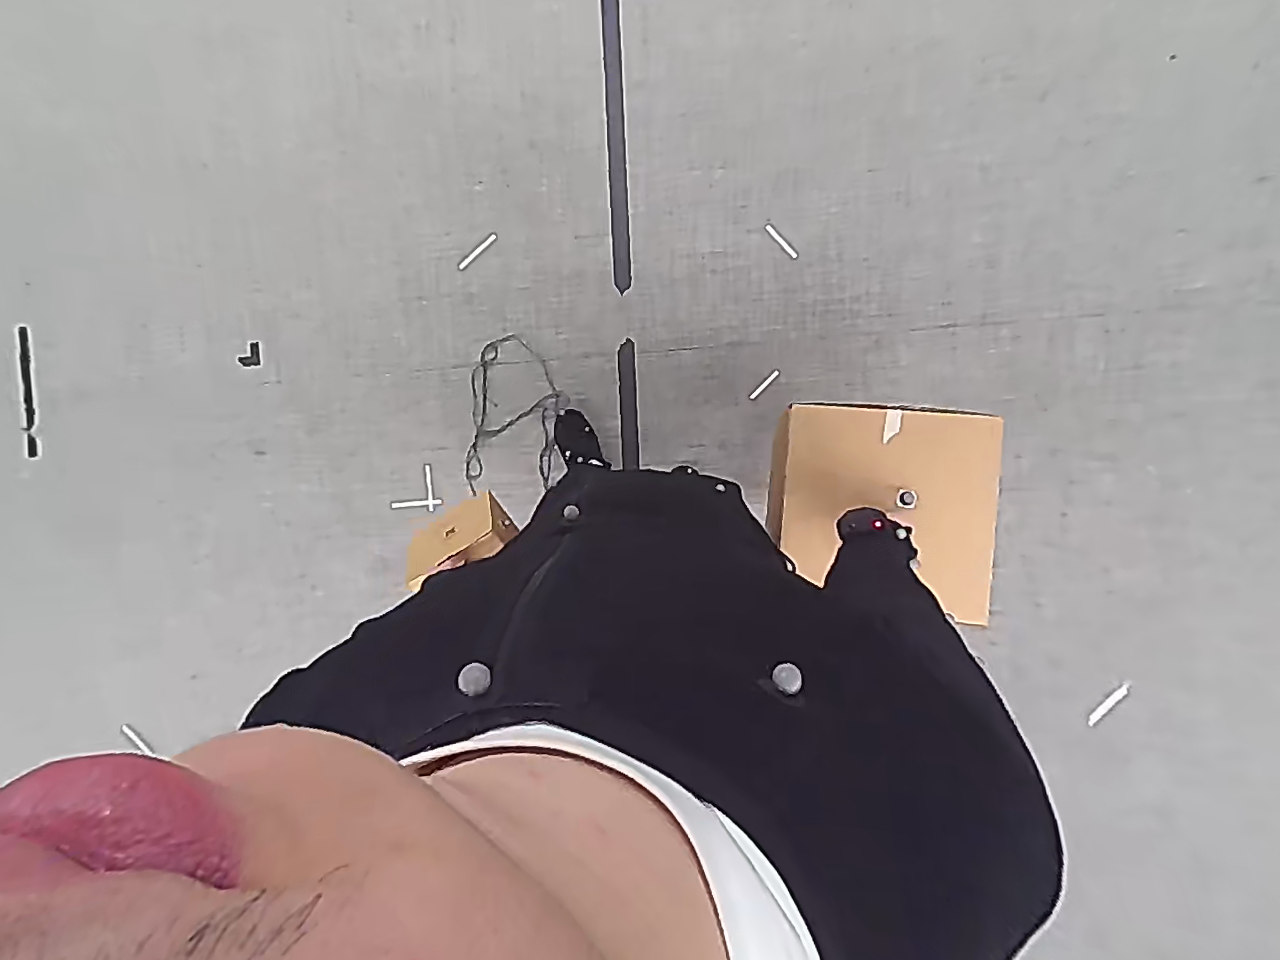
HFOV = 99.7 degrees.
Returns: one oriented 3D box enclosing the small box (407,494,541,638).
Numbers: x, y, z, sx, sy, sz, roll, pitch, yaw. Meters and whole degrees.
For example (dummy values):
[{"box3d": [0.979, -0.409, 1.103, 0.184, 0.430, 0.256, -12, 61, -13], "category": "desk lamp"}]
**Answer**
[{"box3d": [-0.295, 0.160, 0.989, 0.168, 0.179, 0.176, -32, 117, -3], "category": "small box"}]
